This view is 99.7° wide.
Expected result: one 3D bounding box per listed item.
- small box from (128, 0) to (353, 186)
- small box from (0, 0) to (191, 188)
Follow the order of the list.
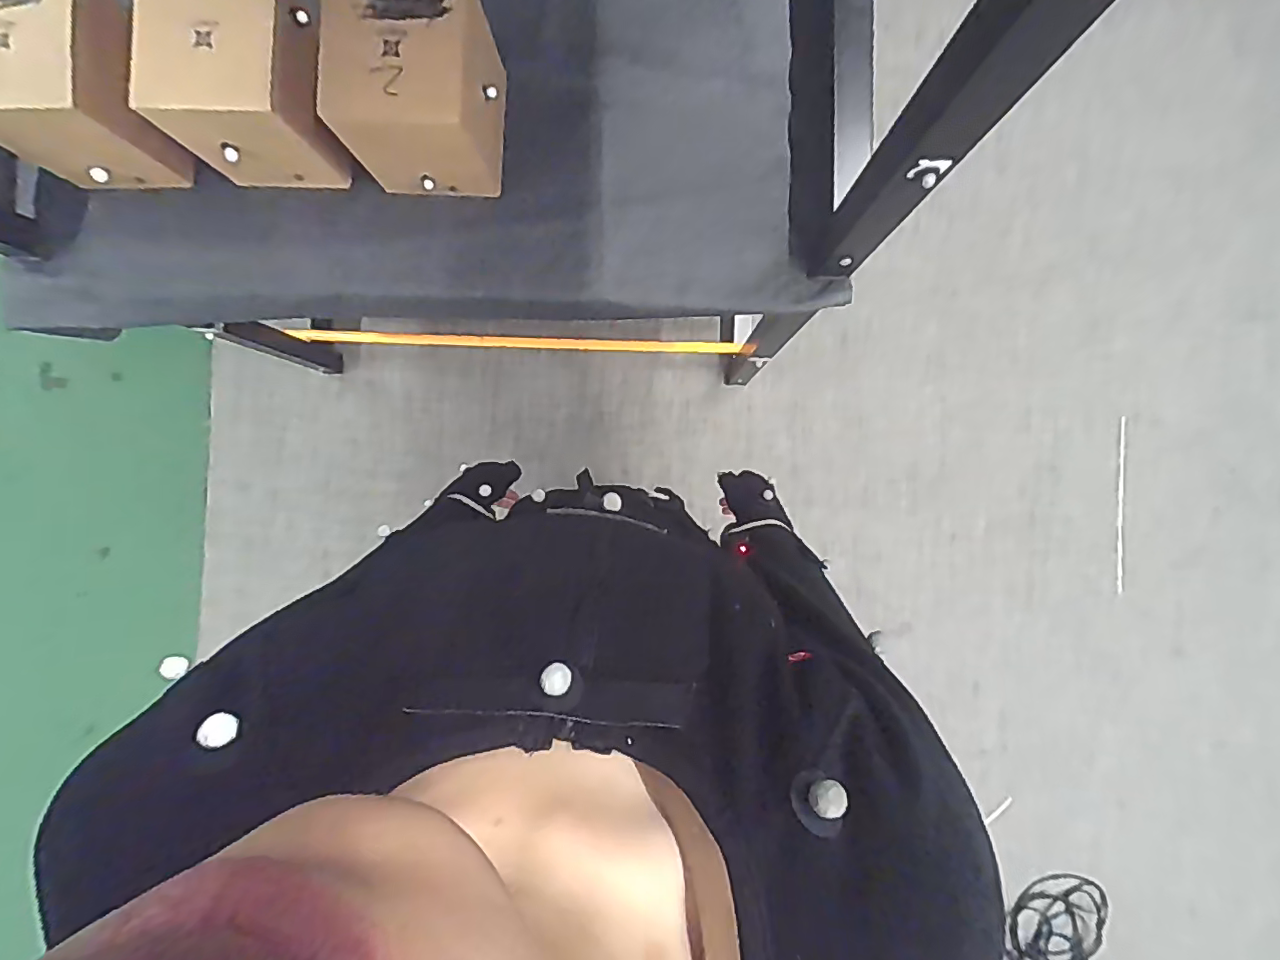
[{"bbox_3d":[-0.491,-0.503,0.689,0.168,0.176,0.179,2,89,0],"label":"small box"},{"bbox_3d":[-0.718,-0.505,0.689,0.168,0.176,0.179,-1,90,1],"label":"small box"}]
